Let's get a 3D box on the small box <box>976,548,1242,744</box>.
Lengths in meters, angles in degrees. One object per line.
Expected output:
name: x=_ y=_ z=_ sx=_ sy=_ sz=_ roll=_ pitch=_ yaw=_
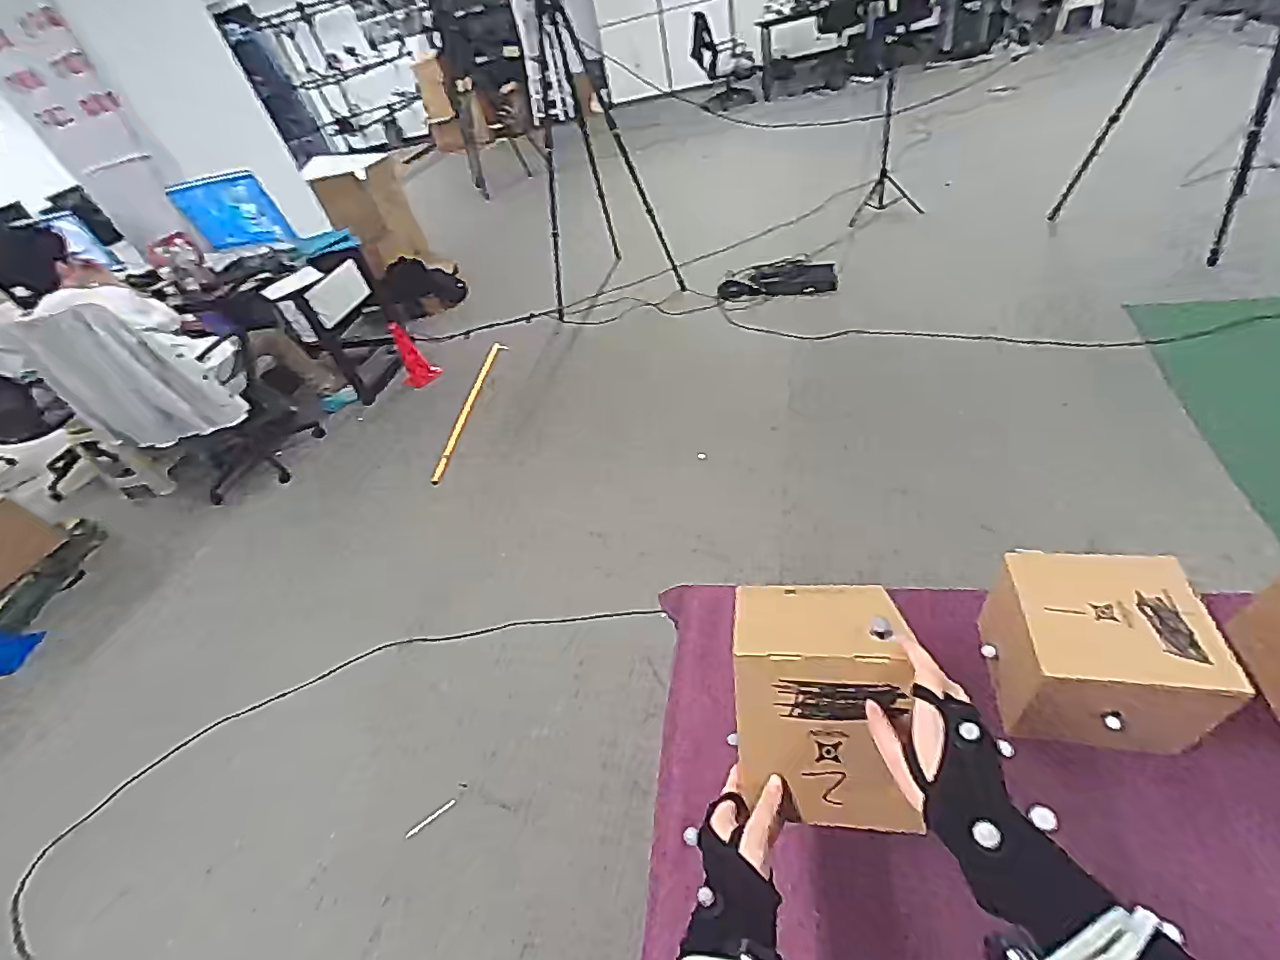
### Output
small box: x=0.534 y=0.200 z=0.652 sx=0.179 sy=0.176 sz=0.168 roll=-2 pitch=45 yaw=18

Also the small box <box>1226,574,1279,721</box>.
small box: x=0.805 y=0.188 z=0.577 sx=0.168 sy=0.176 sz=0.179 roll=-2 pitch=46 yaw=16
